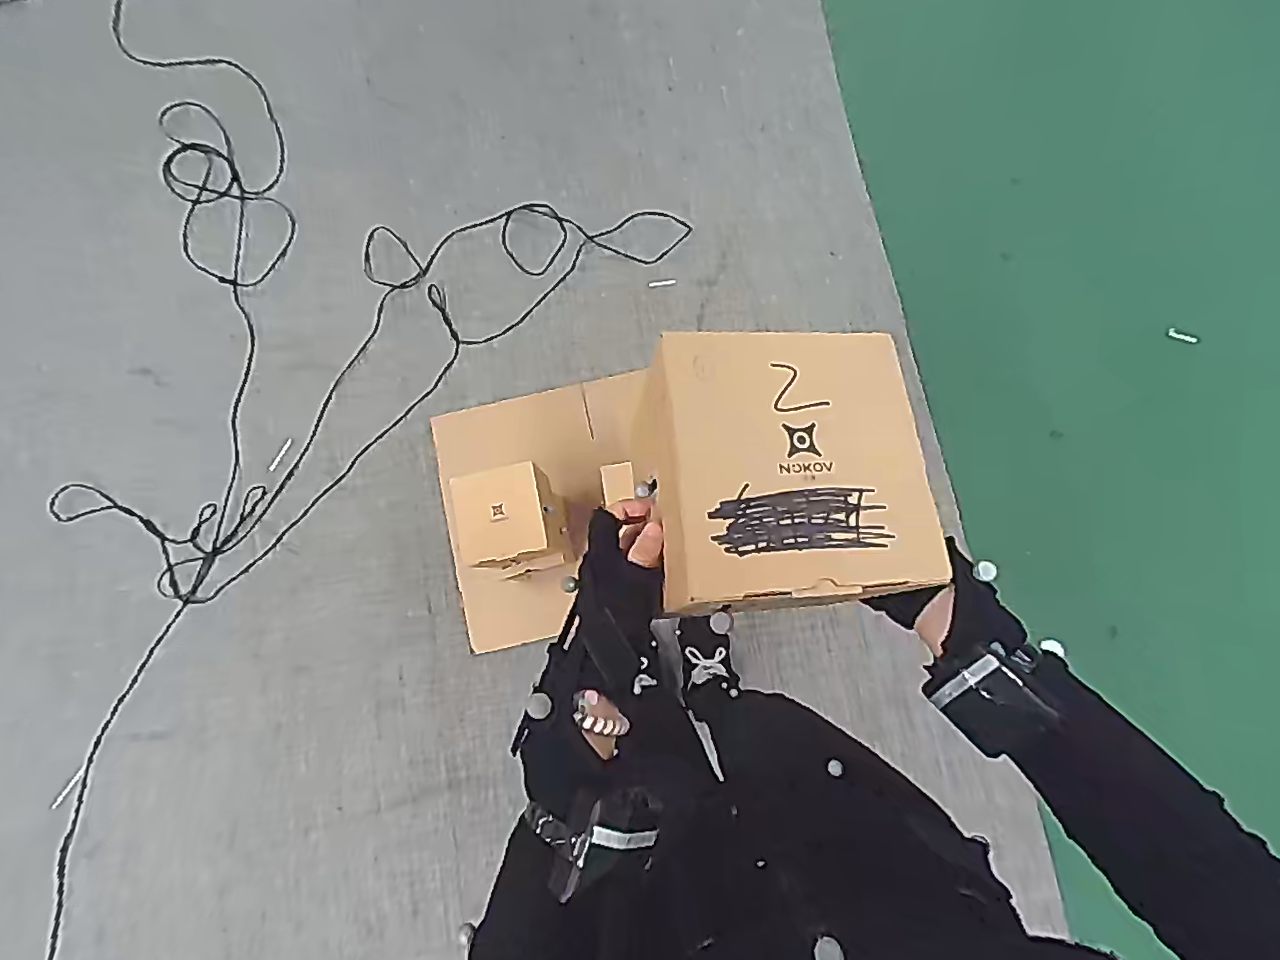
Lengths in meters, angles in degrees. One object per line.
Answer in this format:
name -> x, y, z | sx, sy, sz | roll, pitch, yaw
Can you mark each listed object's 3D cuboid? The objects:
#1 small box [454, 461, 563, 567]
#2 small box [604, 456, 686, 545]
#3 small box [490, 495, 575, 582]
small box -> -0.263, 0.076, 1.105 | 0.168, 0.176, 0.179 | -12, 81, -1
small box -> 0.011, 0.053, 1.270 | 0.168, 0.176, 0.179 | -9, 82, 1
small box -> -0.257, 0.130, 1.261 | 0.168, 0.176, 0.179 | -15, 81, -1
